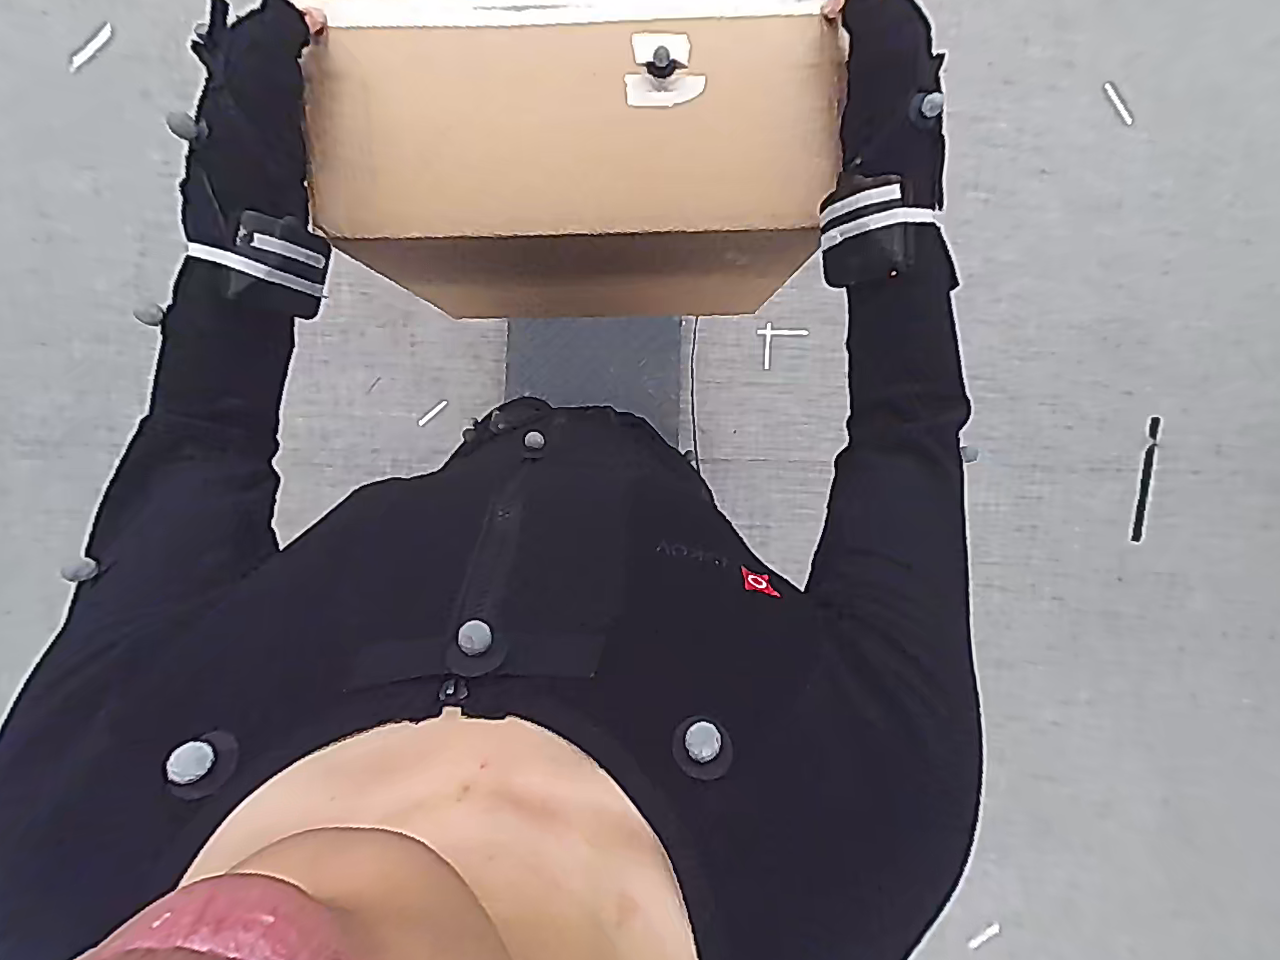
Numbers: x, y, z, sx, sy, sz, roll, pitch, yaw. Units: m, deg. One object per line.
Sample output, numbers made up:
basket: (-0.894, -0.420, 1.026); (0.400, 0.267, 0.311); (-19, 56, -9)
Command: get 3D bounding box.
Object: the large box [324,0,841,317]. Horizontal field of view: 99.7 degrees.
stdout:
large box: (-0.046, -0.364, 0.563); (0.408, 0.320, 0.320); (-1, 96, 0)
